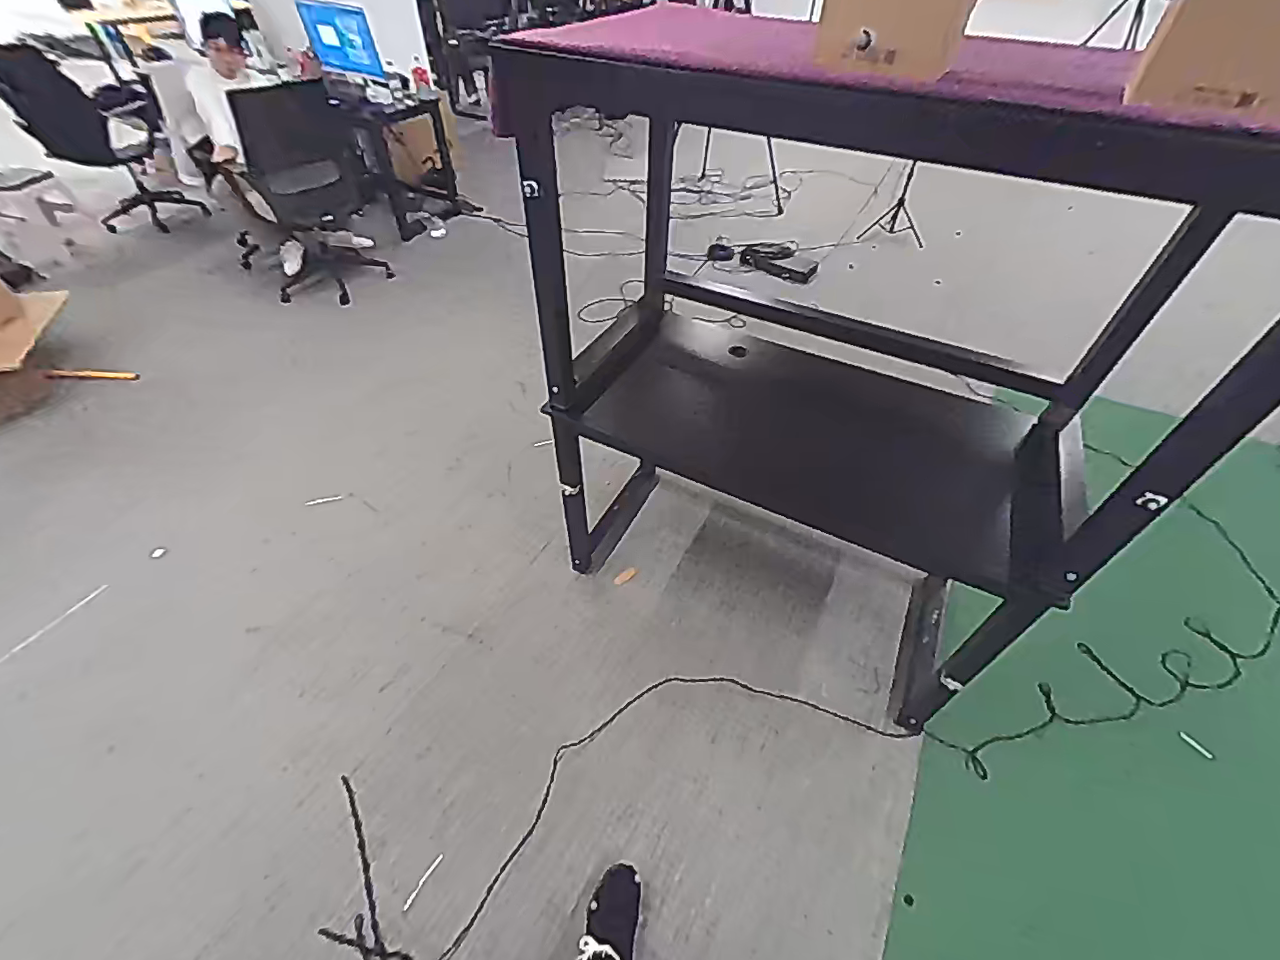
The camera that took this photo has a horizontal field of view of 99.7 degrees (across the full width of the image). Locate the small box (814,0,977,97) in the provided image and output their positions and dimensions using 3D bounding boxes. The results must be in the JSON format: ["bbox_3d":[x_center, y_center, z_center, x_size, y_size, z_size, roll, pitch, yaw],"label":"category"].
[{"bbox_3d":[0.350,-0.635,0.724,0.168,0.176,0.179,23,49,21],"label":"small box"}]

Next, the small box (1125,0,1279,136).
[{"bbox_3d":[0.687,-0.507,0.604,0.168,0.176,0.179,24,50,22],"label":"small box"}]
